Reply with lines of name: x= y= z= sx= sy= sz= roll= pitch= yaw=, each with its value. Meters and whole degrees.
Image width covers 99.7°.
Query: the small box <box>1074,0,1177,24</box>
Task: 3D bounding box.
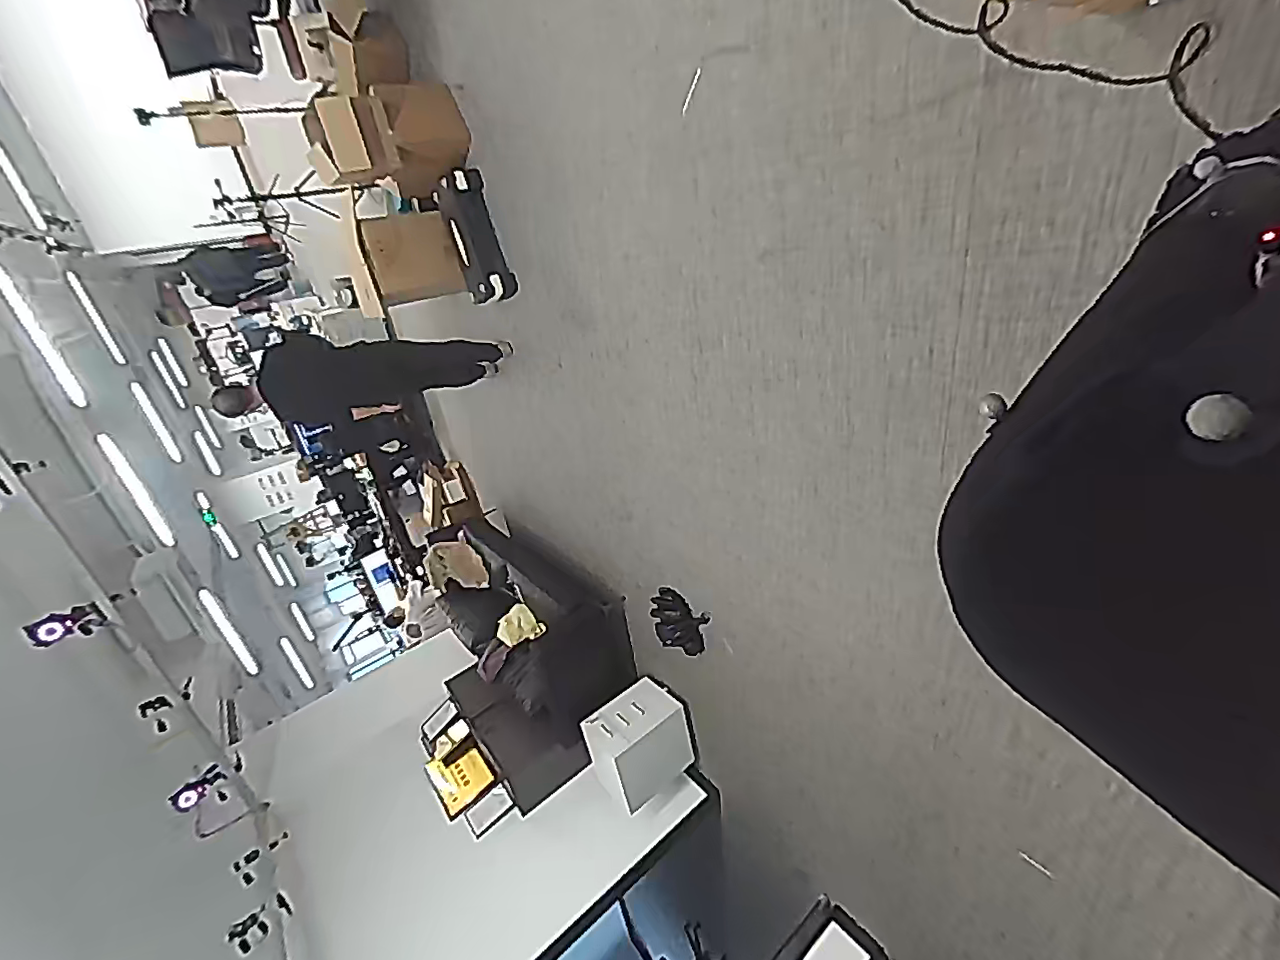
small box: x=0.807 y=-0.849 z=0.837 sx=0.168 sy=0.176 sz=0.179 roll=15 pitch=125 yaw=53
